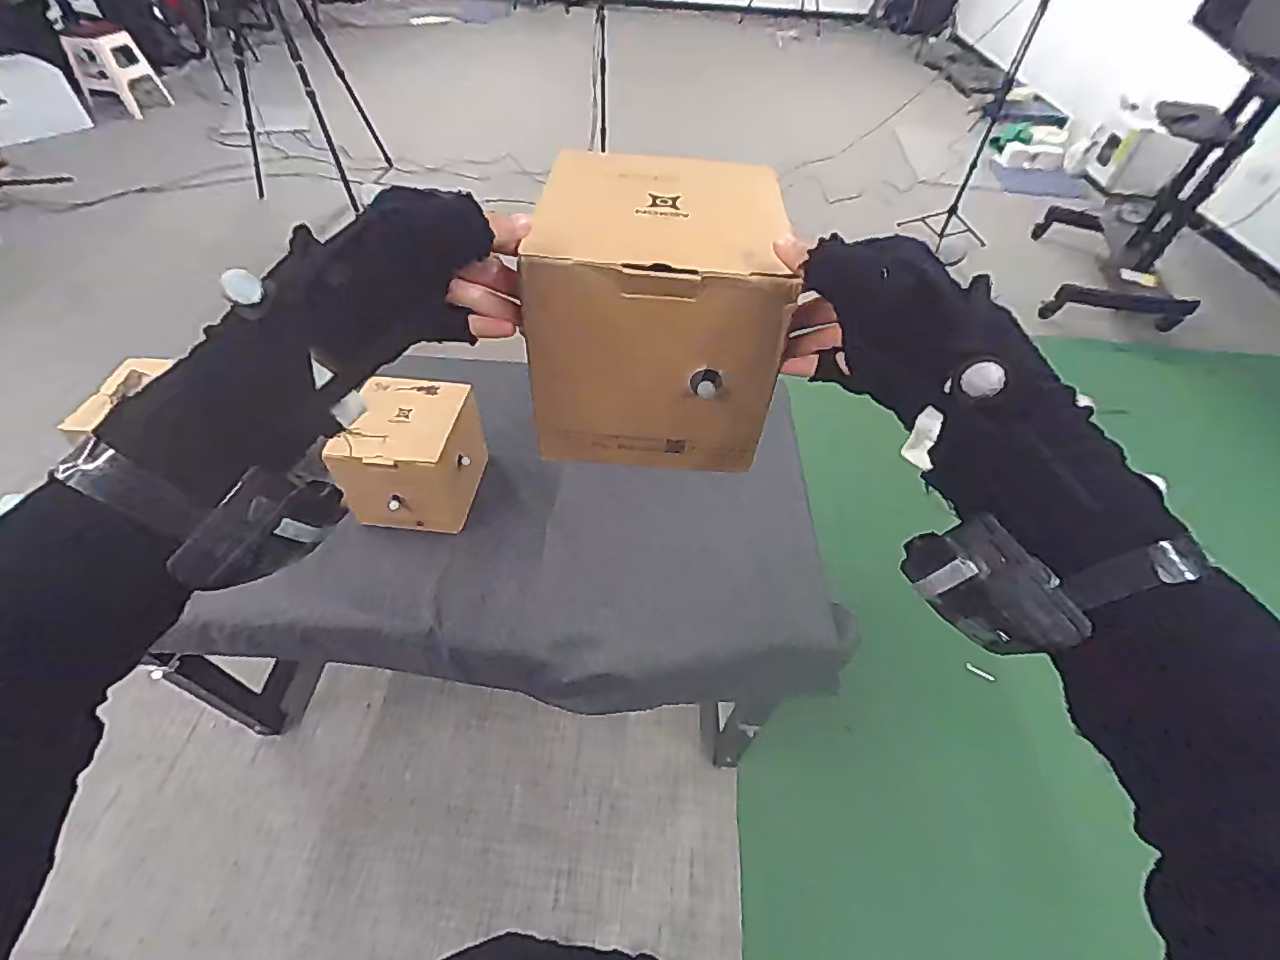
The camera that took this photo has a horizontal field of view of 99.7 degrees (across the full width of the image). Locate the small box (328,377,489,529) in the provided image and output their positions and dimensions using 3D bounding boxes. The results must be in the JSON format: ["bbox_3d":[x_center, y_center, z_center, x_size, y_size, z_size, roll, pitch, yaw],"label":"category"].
[{"bbox_3d":[-0.354,-0.039,0.869,0.168,0.176,0.179,5,50,1],"label":"small box"}]

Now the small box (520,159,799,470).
[{"bbox_3d":[0.012,-0.126,0.424,0.168,0.176,0.179,4,48,-1],"label":"small box"}]

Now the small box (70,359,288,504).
[{"bbox_3d":[-0.722,-0.075,0.875,0.179,0.176,0.168,3,50,-3],"label":"small box"}]
